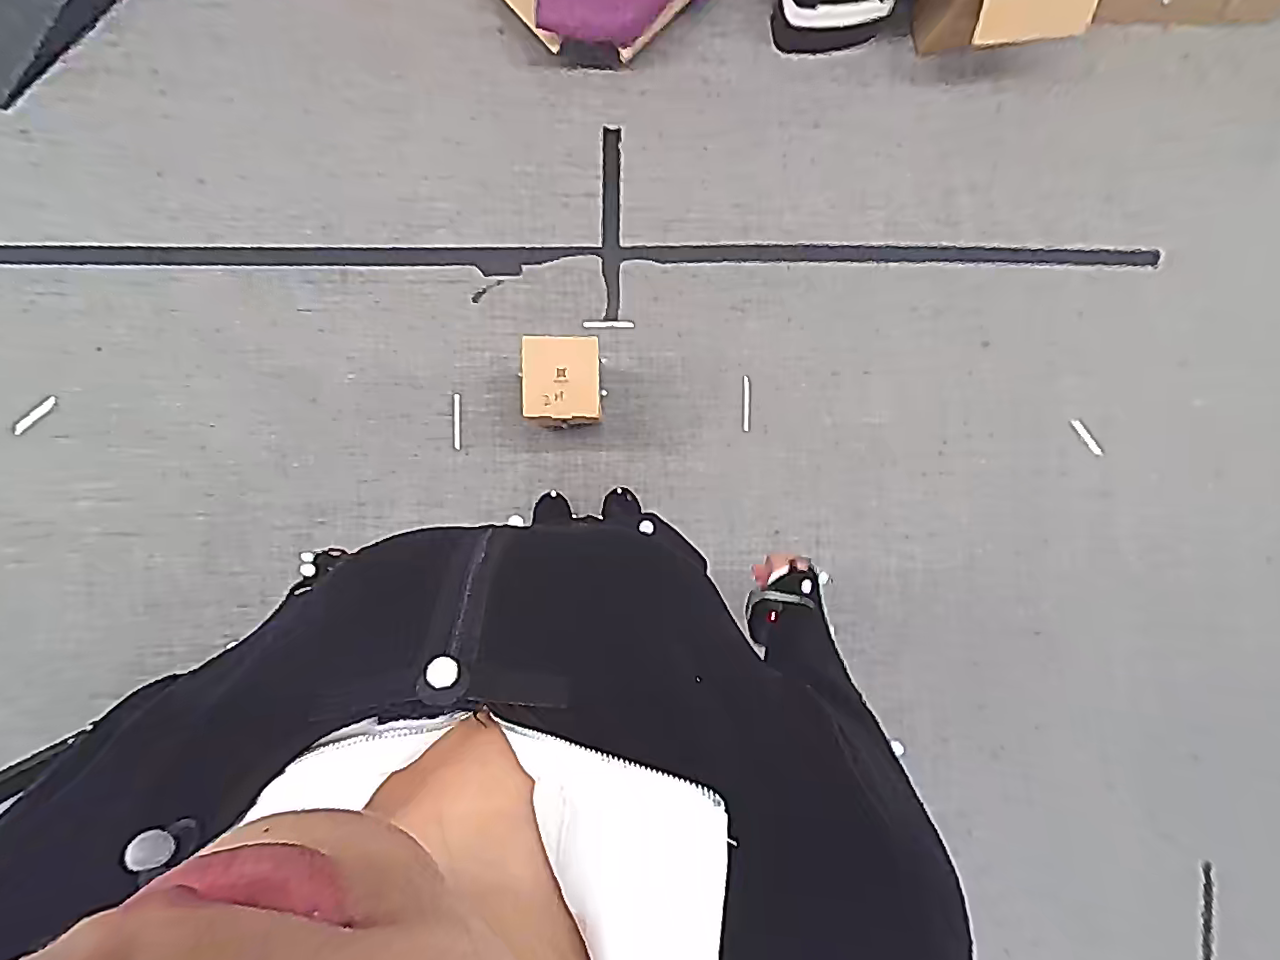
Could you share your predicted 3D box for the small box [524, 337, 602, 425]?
[{"bbox_3d":[-0.172,-0.221,1.237,0.168,0.176,0.179,0,92,-3],"label":"small box"}]
